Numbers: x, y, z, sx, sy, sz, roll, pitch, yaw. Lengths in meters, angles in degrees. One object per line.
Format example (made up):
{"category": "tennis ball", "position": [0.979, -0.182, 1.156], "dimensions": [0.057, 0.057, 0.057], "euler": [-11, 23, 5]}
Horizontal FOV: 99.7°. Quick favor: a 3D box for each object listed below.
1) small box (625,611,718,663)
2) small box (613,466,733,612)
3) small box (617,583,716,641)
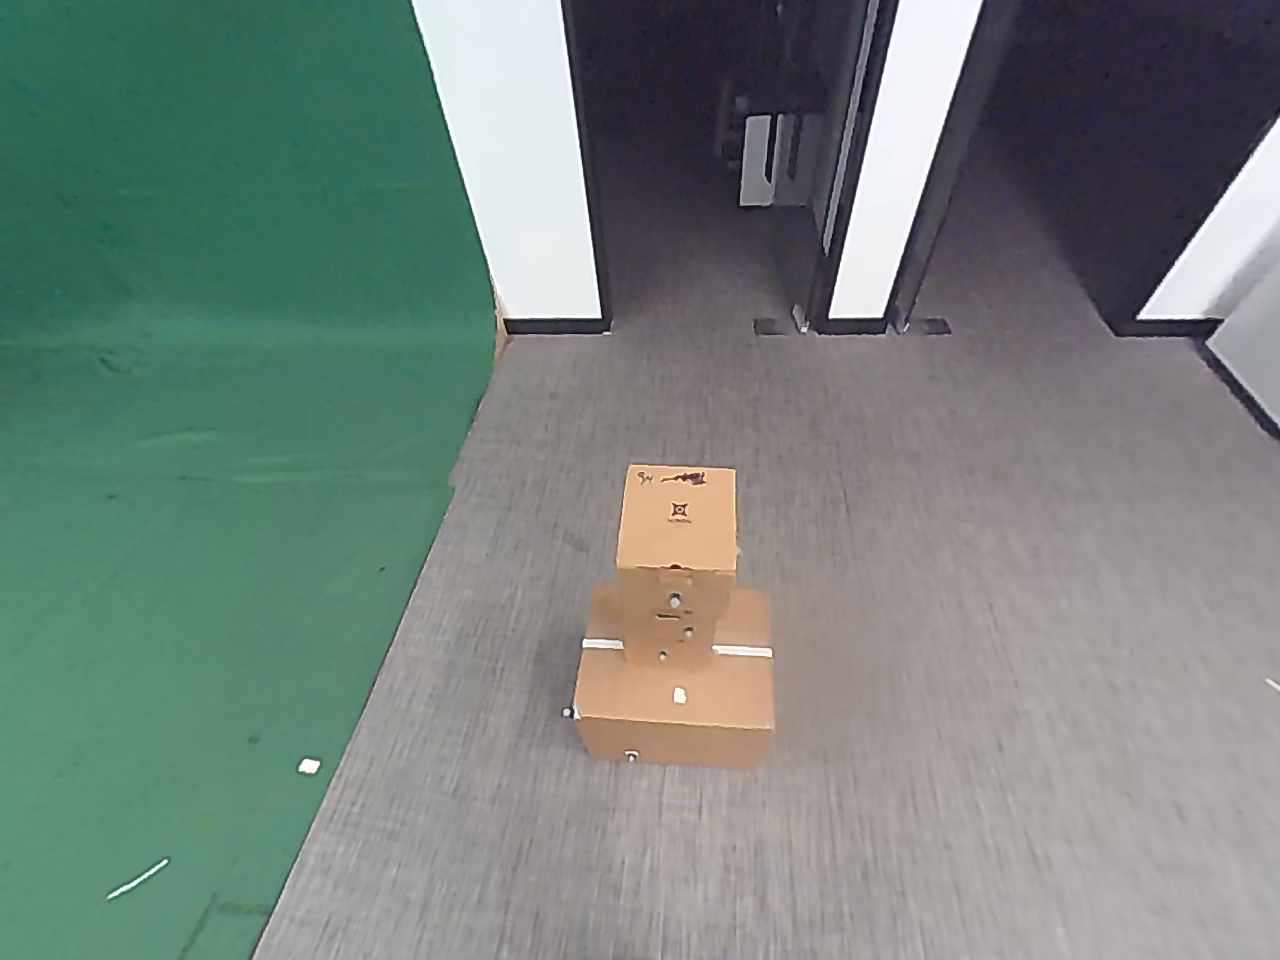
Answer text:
{"category": "small box", "position": [0.068, 0.274, 1.122], "dimensions": [0.179, 0.176, 0.168], "euler": [1, 56, 5]}
{"category": "small box", "position": [0.058, 0.097, 0.850], "dimensions": [0.168, 0.176, 0.179], "euler": [2, 56, 6]}
{"category": "small box", "position": [0.056, 0.182, 0.989], "dimensions": [0.168, 0.176, 0.179], "euler": [2, 55, 5]}
